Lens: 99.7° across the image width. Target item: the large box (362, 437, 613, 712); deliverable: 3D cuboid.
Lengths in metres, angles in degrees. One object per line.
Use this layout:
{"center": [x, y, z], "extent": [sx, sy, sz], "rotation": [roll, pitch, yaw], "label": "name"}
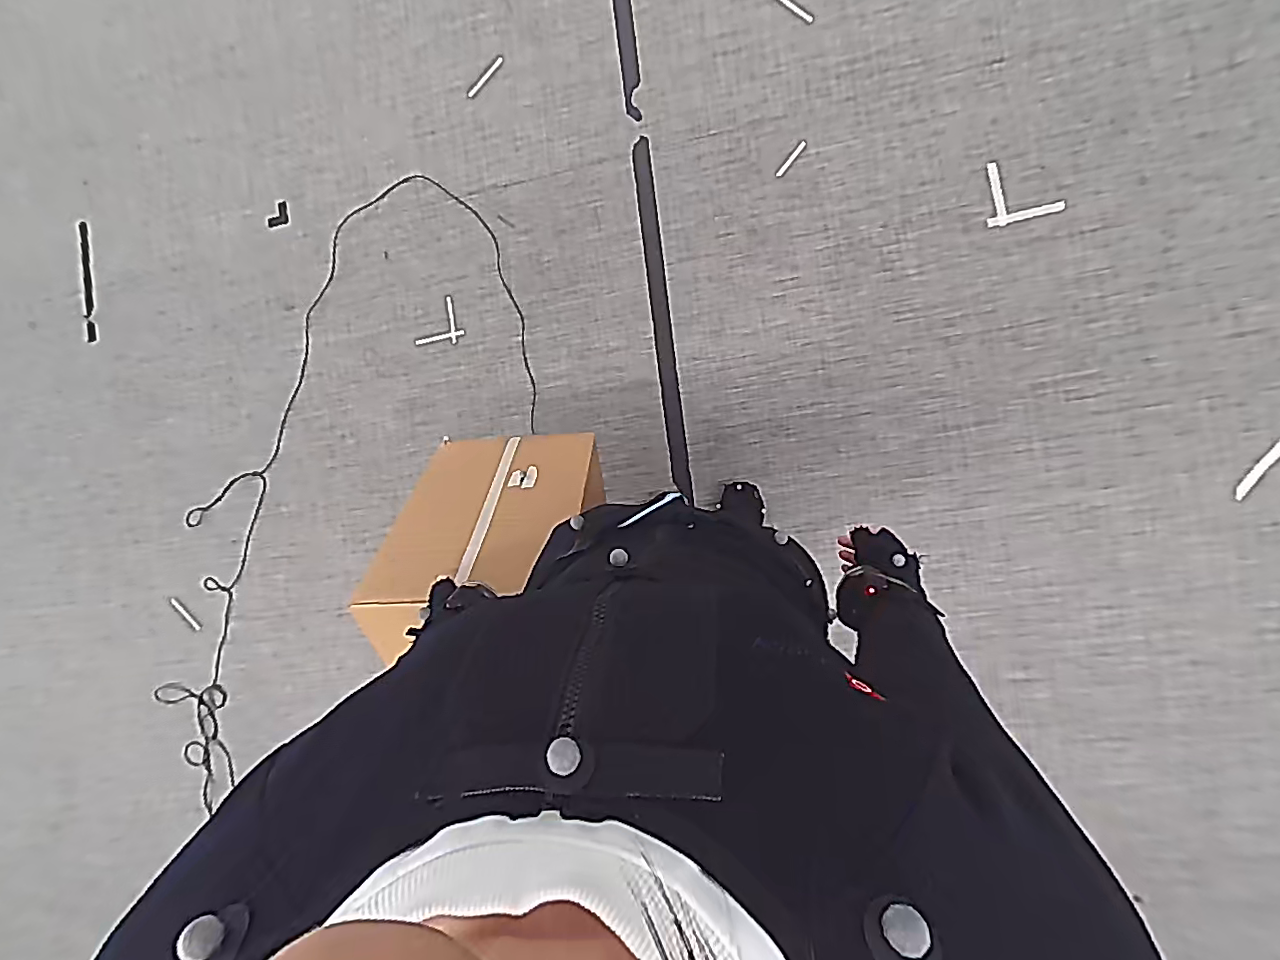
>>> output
{"center": [-0.231, 0.163, 1.002], "extent": [0.320, 0.408, 0.320], "rotation": [-2, 128, 4], "label": "large box"}
